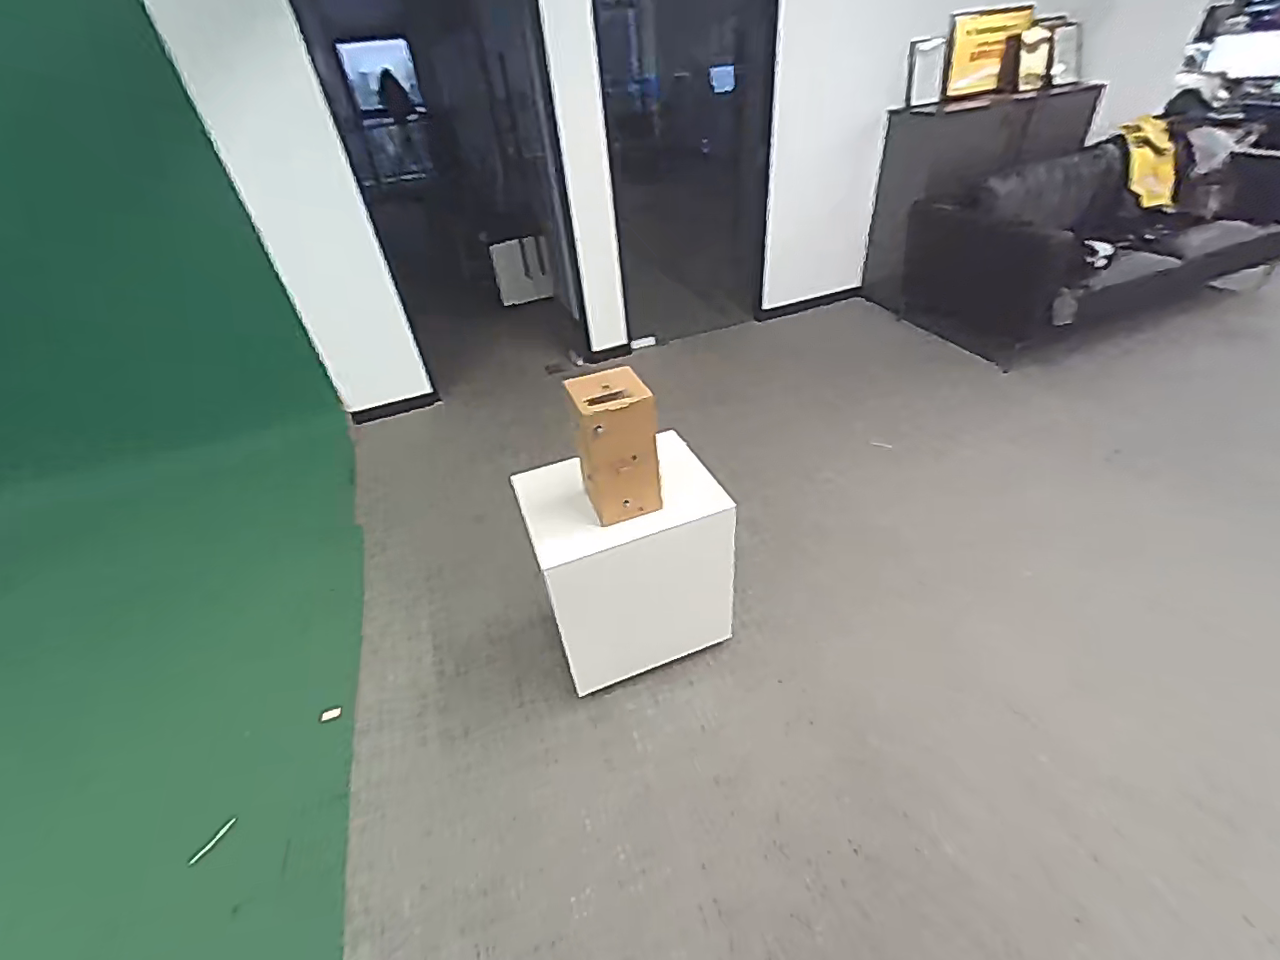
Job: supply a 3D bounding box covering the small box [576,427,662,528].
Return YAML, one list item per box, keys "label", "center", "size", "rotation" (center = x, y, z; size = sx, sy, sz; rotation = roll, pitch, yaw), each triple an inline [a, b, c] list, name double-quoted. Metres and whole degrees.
- label: "small box"
  center: [-0.053, -0.008, 1.372]
  size: [0.168, 0.176, 0.179]
  rotation: [-17, 38, -13]
